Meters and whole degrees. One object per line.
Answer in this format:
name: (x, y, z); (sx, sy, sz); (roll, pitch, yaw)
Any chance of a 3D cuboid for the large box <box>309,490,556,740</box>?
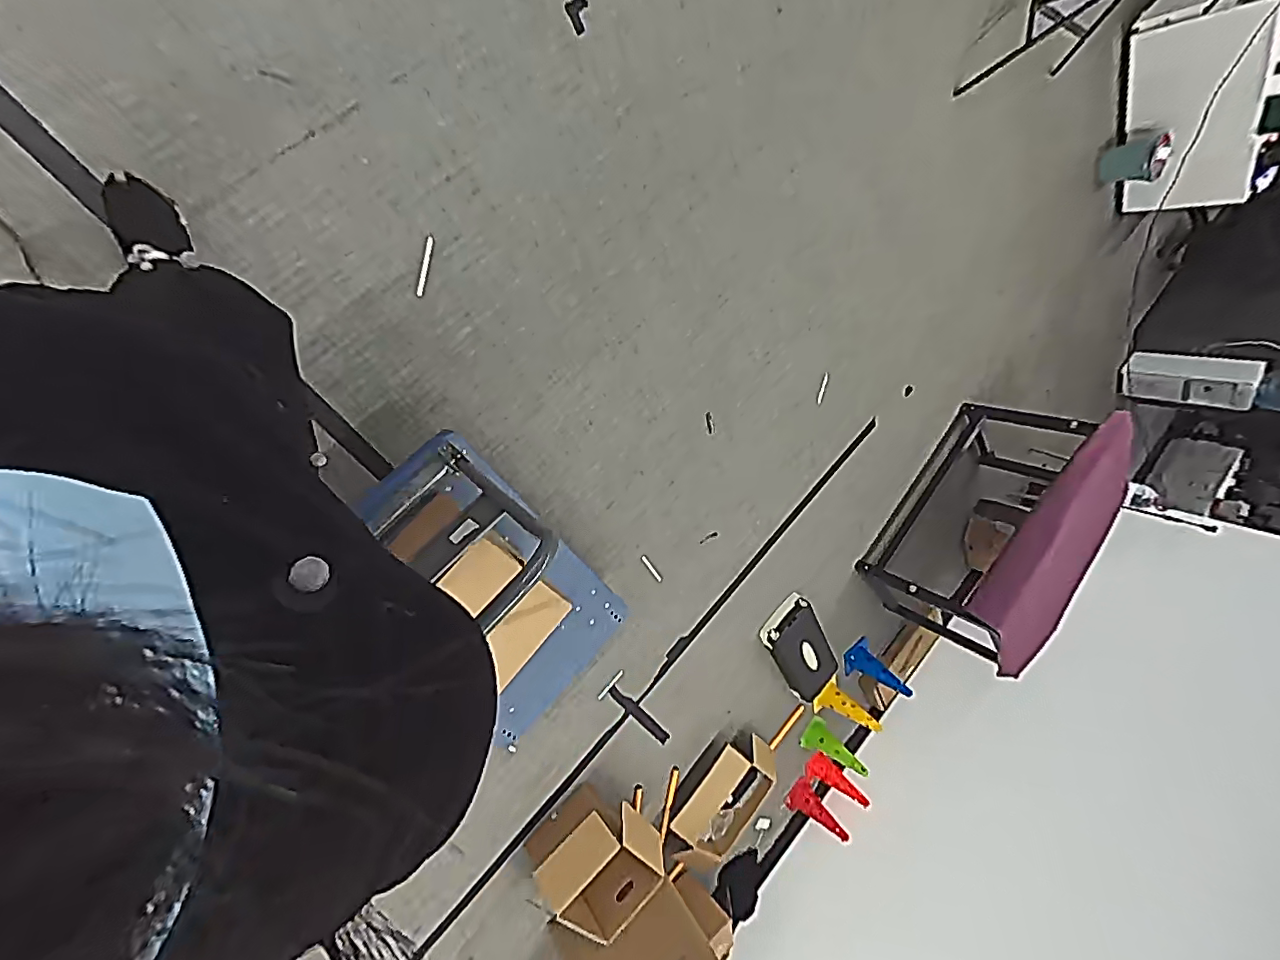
large box: (-0.480, 0.299, 1.260); (0.408, 0.320, 0.320); (-49, 127, -11)
